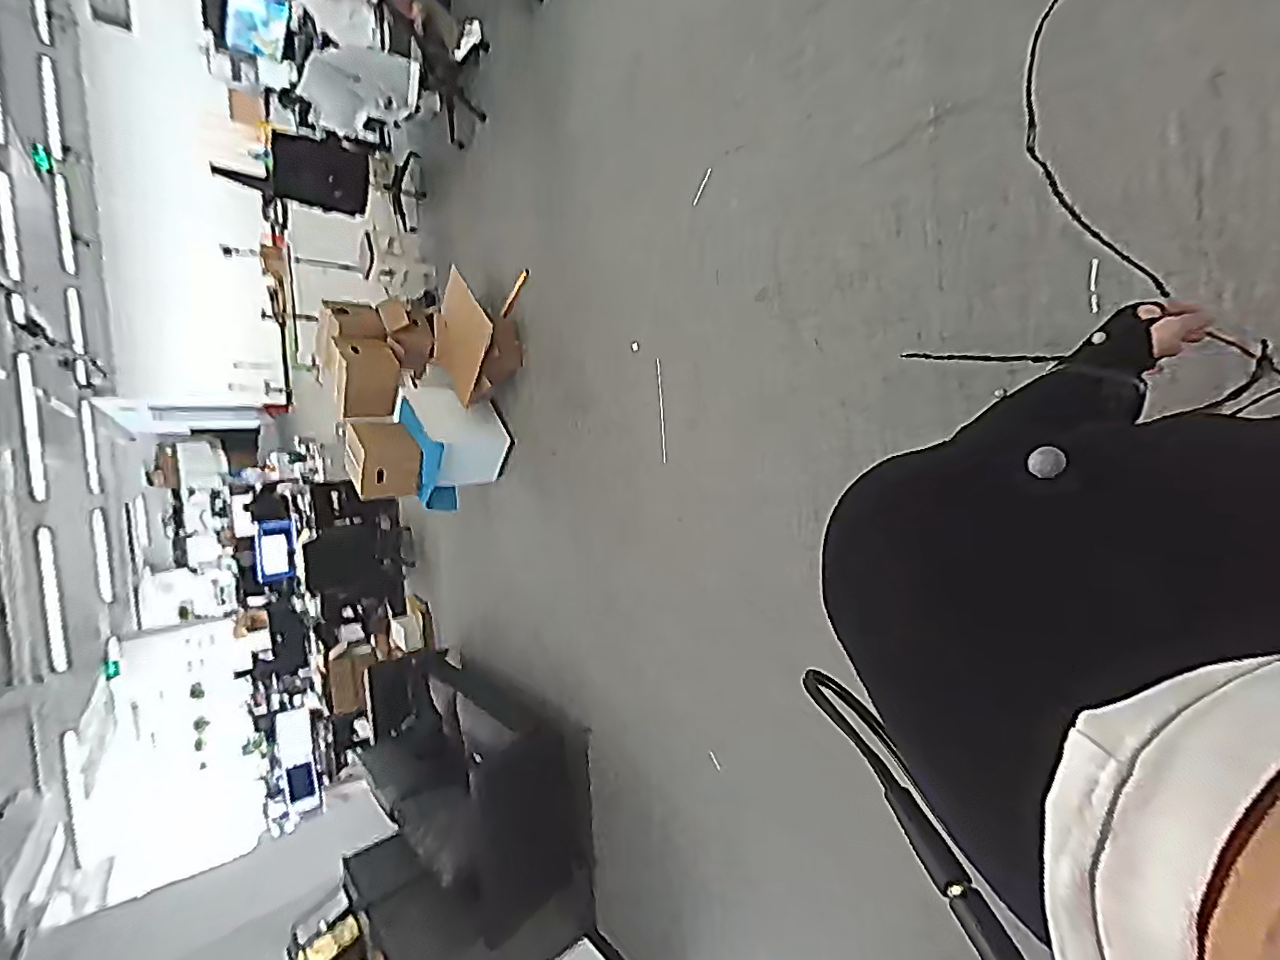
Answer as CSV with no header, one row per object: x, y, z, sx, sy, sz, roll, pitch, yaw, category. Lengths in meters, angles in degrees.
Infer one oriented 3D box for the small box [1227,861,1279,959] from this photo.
1.231,0.874,1.014,0.168,0.176,0.179,4,99,50,small box
